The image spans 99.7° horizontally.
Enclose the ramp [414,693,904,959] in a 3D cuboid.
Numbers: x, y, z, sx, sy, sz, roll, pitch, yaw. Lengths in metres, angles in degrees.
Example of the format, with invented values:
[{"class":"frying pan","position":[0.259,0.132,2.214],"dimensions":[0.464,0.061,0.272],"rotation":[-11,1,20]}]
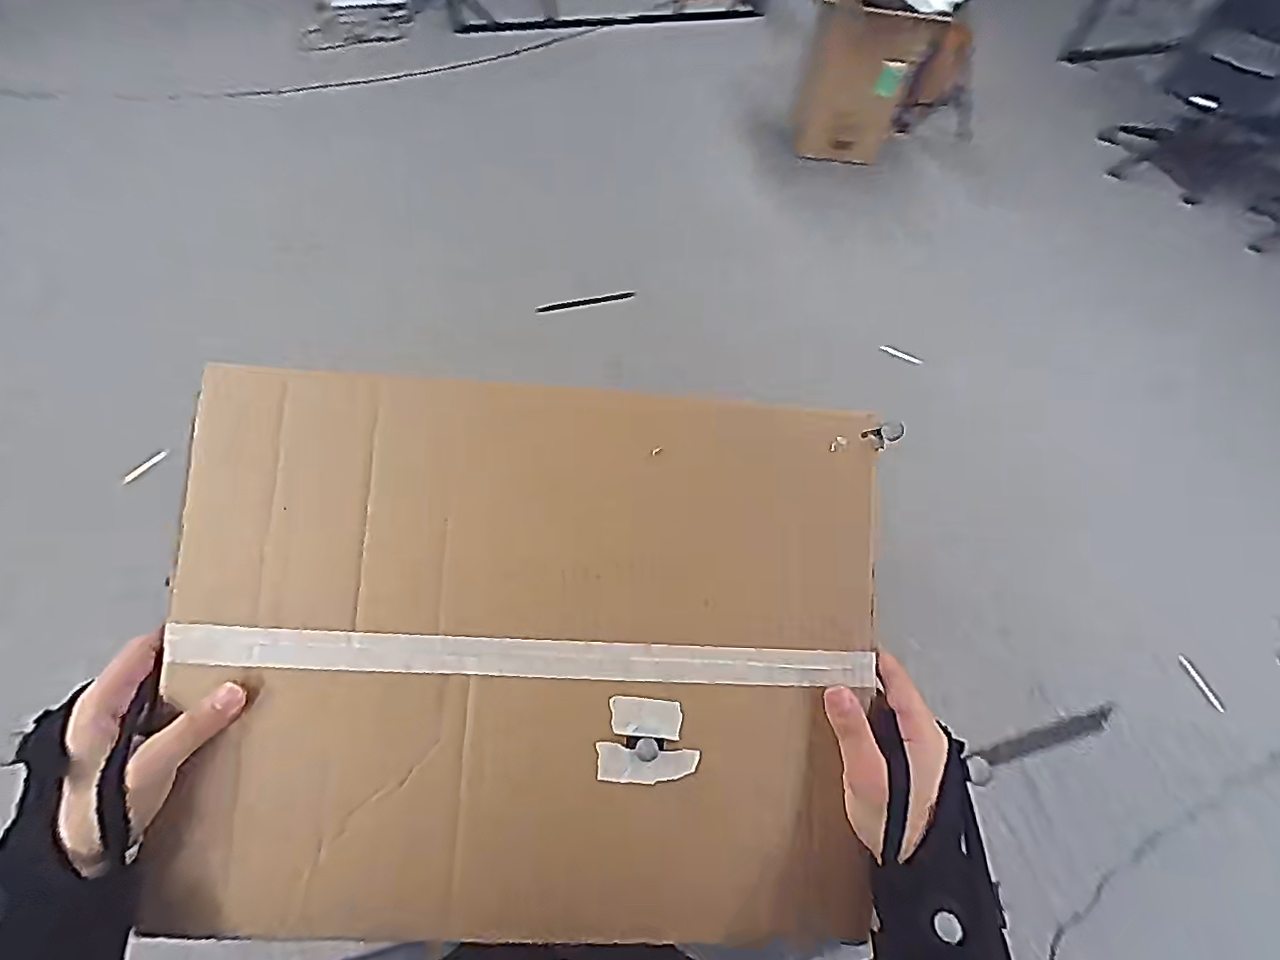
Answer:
[{"class":"ramp","position":[0.067,0.822,1.160],"dimensions":[0.991,0.206,0.509],"rotation":[-14,60,-13]}]
